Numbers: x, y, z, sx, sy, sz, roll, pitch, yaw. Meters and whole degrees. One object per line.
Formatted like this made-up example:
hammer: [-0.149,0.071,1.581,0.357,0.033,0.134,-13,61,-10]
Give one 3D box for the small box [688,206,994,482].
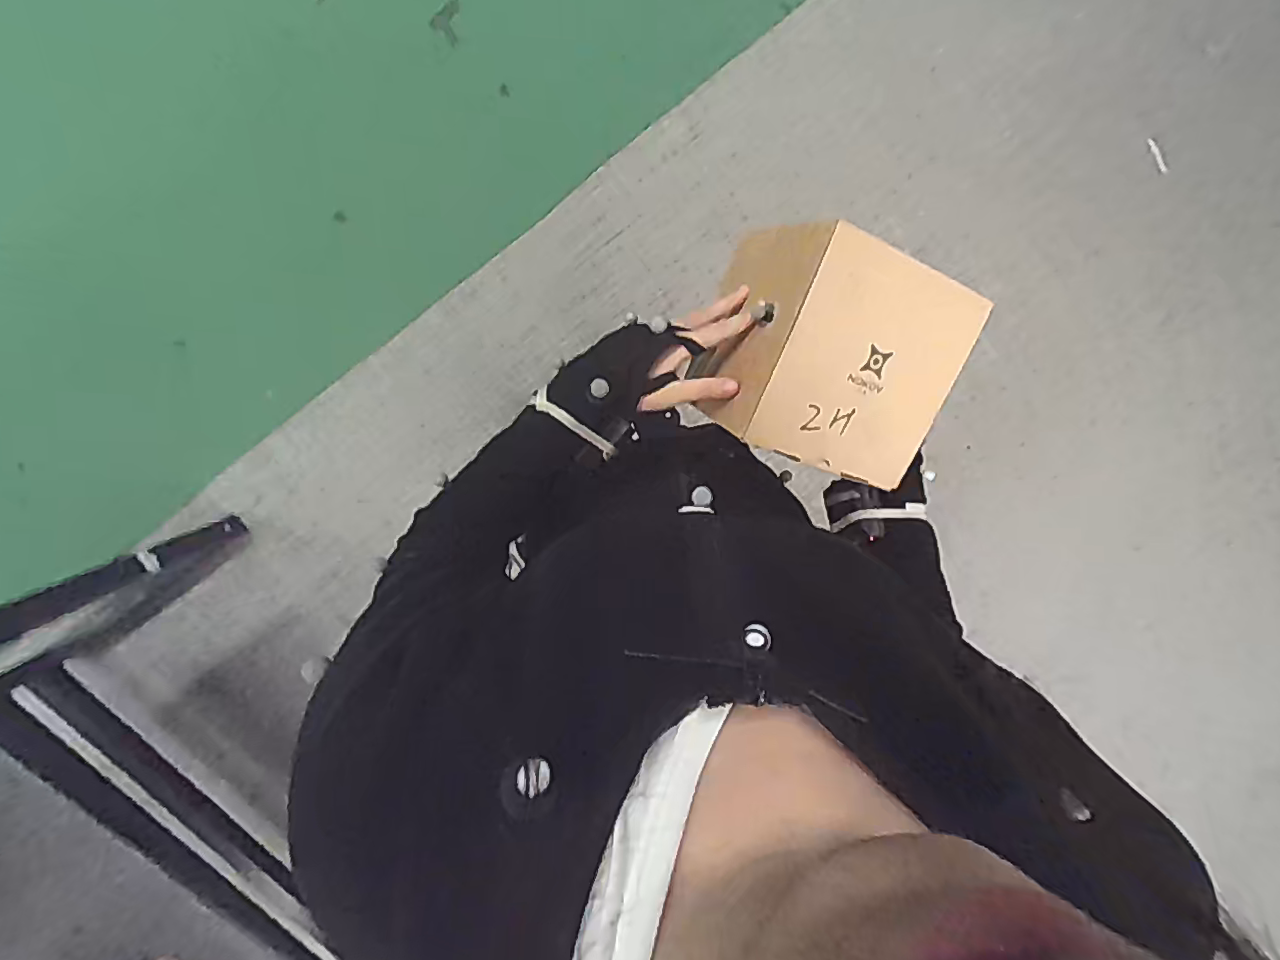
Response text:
small box: [0.163,-0.123,0.499,0.168,0.176,0.179,15,106,-20]
